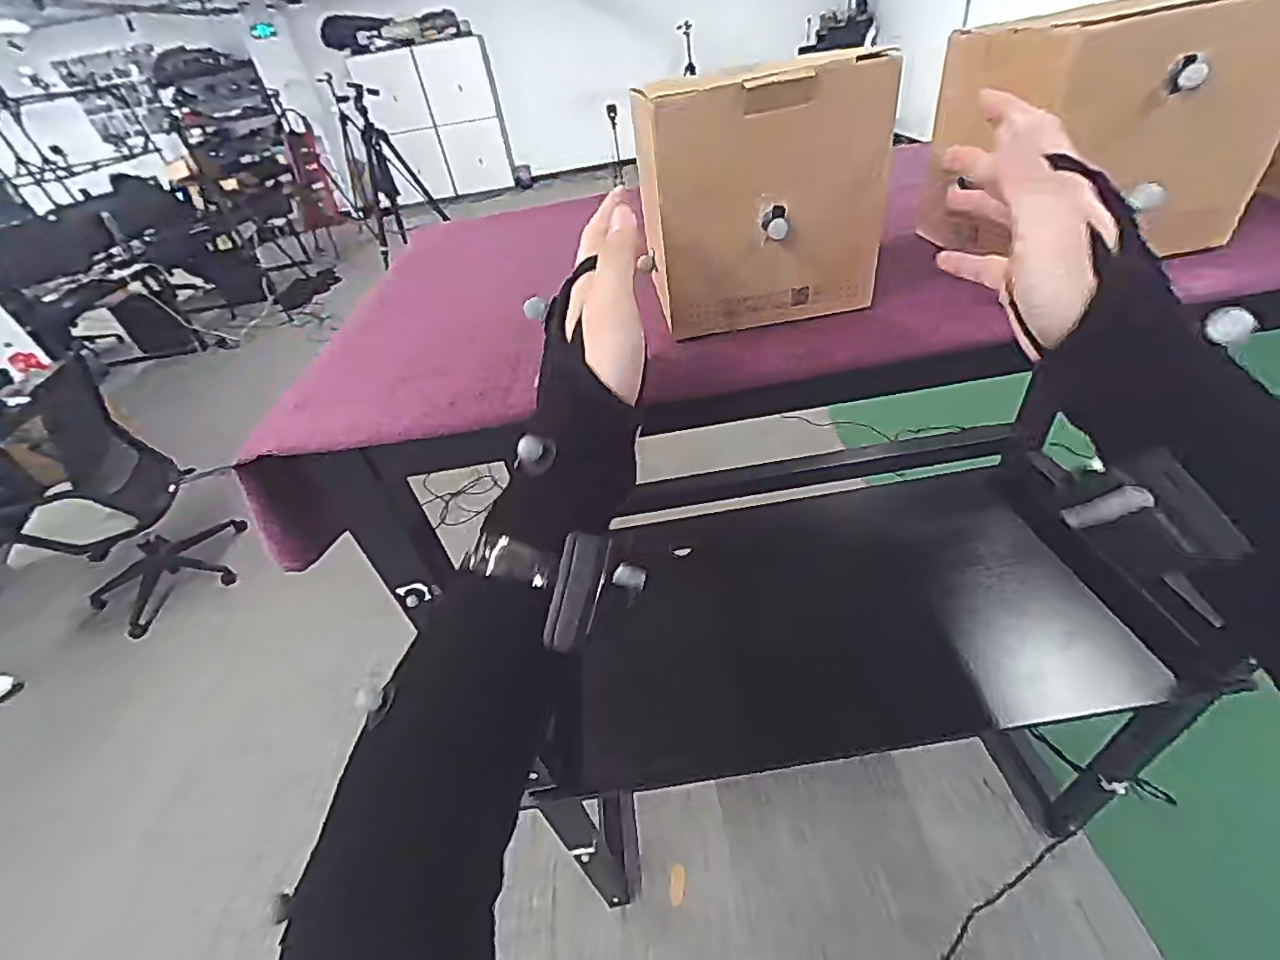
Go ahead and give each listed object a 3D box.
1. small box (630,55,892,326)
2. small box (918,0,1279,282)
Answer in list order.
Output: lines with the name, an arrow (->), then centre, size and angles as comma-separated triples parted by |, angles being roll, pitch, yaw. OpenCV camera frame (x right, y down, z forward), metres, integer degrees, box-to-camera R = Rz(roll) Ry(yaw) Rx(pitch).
small box -> 0.090, -0.244, 0.466 | 0.168, 0.176, 0.179 | -10, 38, 0
small box -> 0.369, -0.288, 0.461 | 0.179, 0.176, 0.168 | -10, 37, 2
